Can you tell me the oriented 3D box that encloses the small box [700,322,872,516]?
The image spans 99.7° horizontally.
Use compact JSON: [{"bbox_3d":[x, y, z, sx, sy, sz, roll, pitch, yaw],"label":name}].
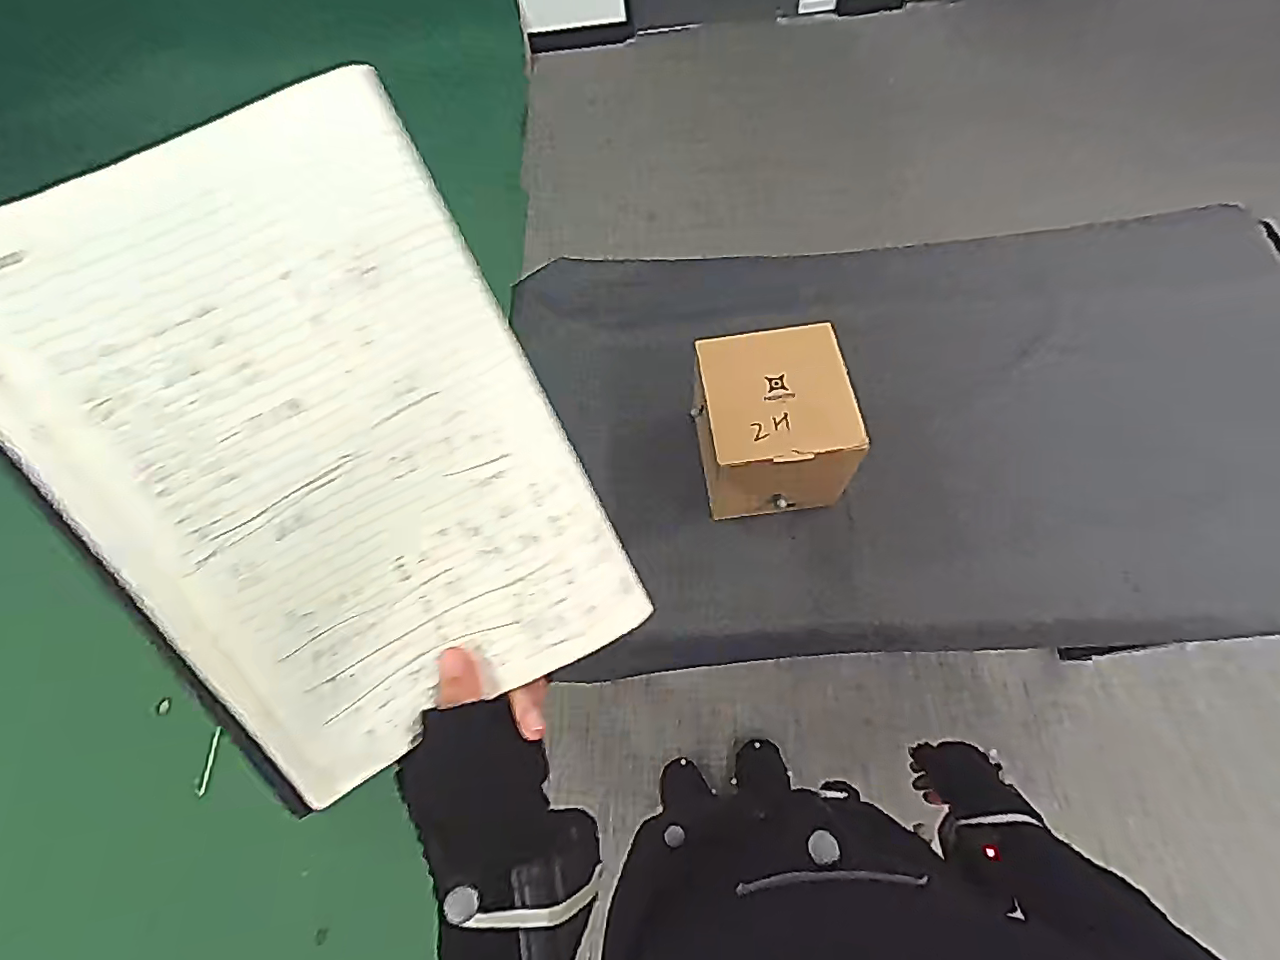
[{"bbox_3d":[0.169,-0.071,0.692,0.168,0.176,0.179,-8,65,3],"label":"small box"}]
